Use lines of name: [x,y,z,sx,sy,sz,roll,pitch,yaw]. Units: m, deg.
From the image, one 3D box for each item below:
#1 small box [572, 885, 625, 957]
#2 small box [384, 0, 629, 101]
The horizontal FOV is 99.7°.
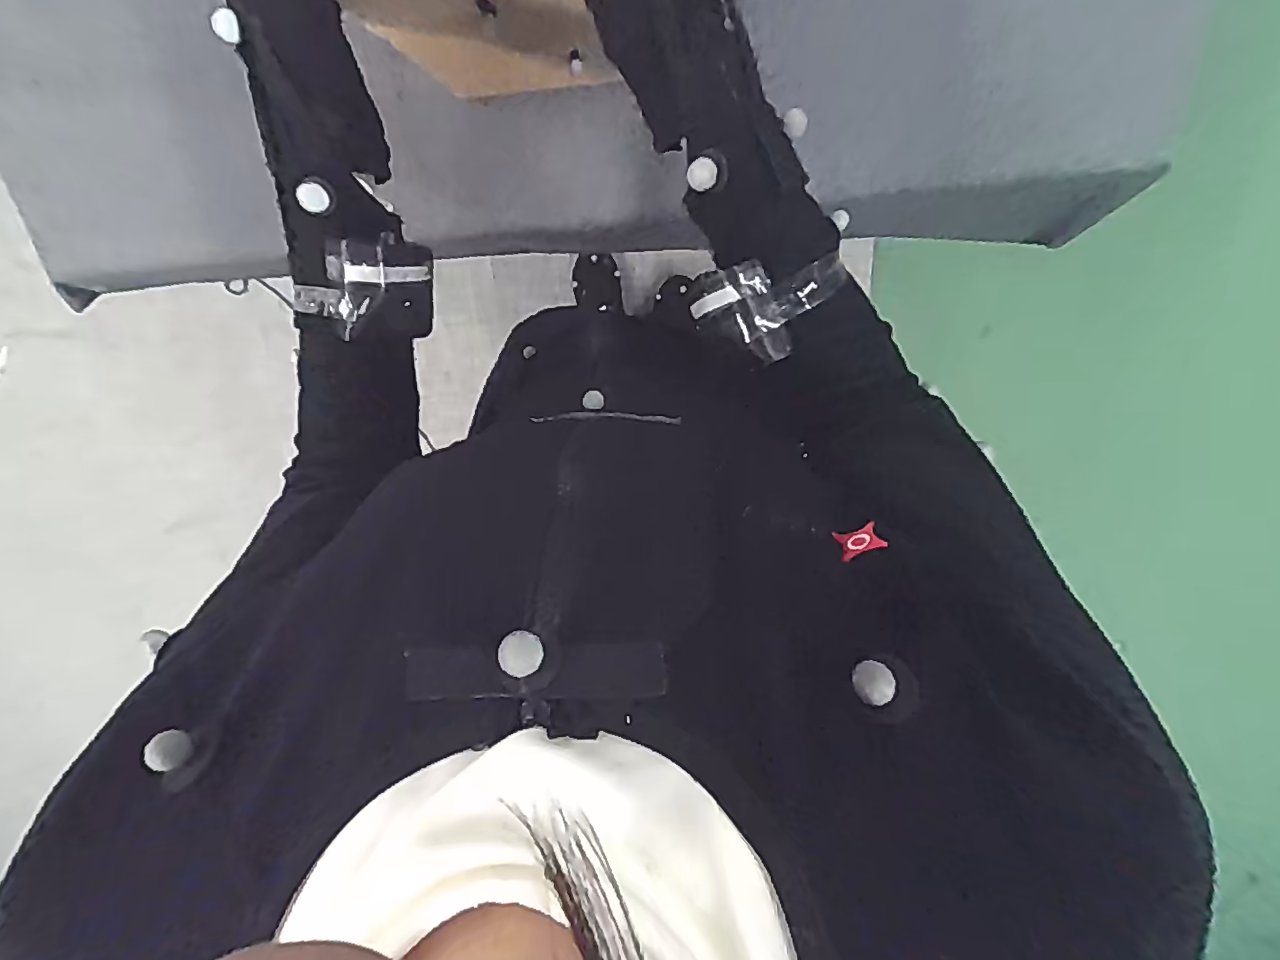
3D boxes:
small box: [-0.160,1.738,2.136,0.179,0.176,0.168,-4,112,4]
small box: [-0.103,-0.435,0.441,0.179,0.176,0.168,-5,111,5]
